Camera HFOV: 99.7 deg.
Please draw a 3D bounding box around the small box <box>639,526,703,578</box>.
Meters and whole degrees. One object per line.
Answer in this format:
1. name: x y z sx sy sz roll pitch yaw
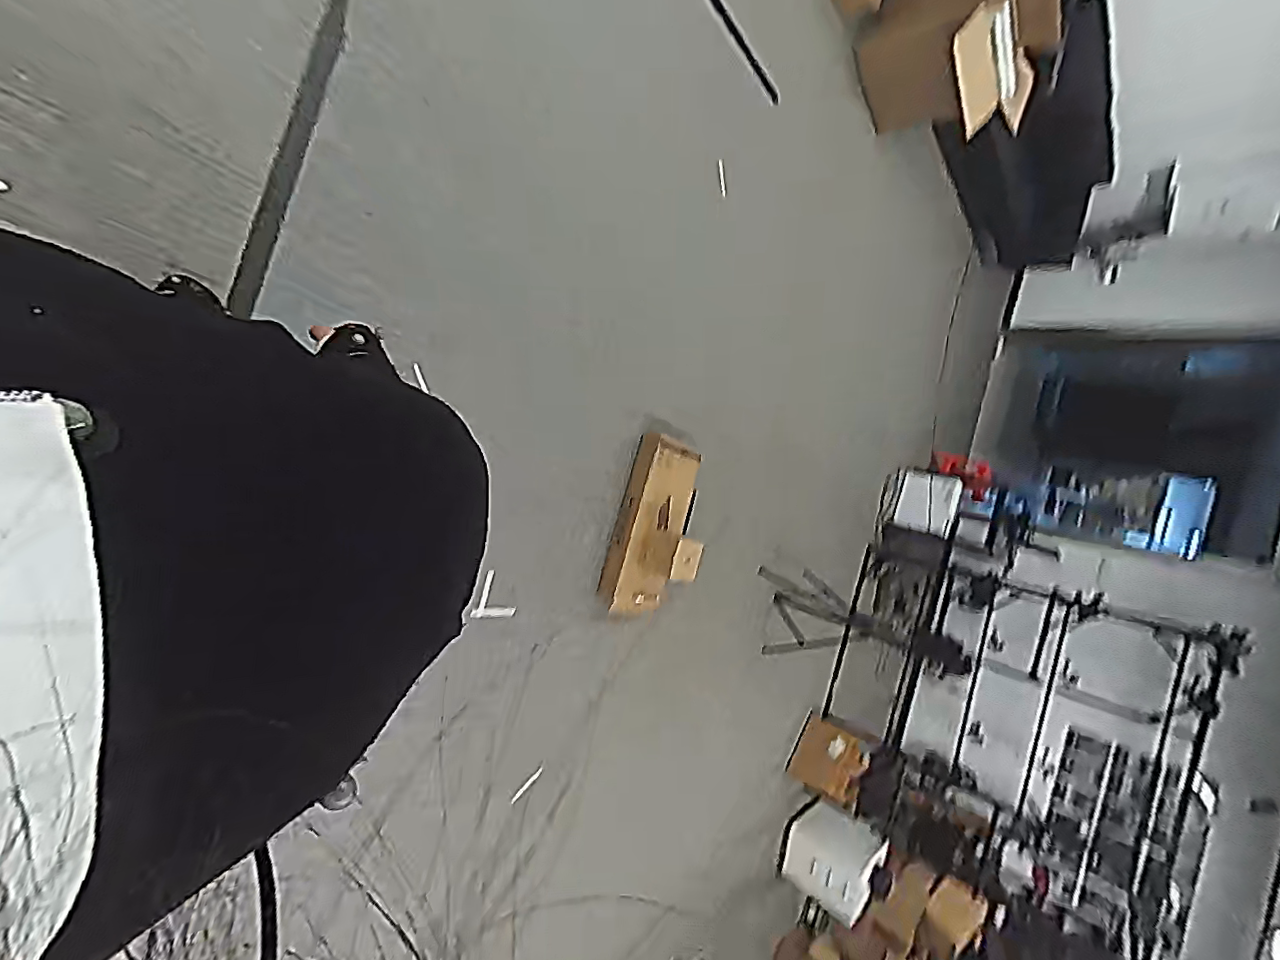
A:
1. small box: 0.125 0.293 2.204 0.179 0.176 0.168 16 88 -48
